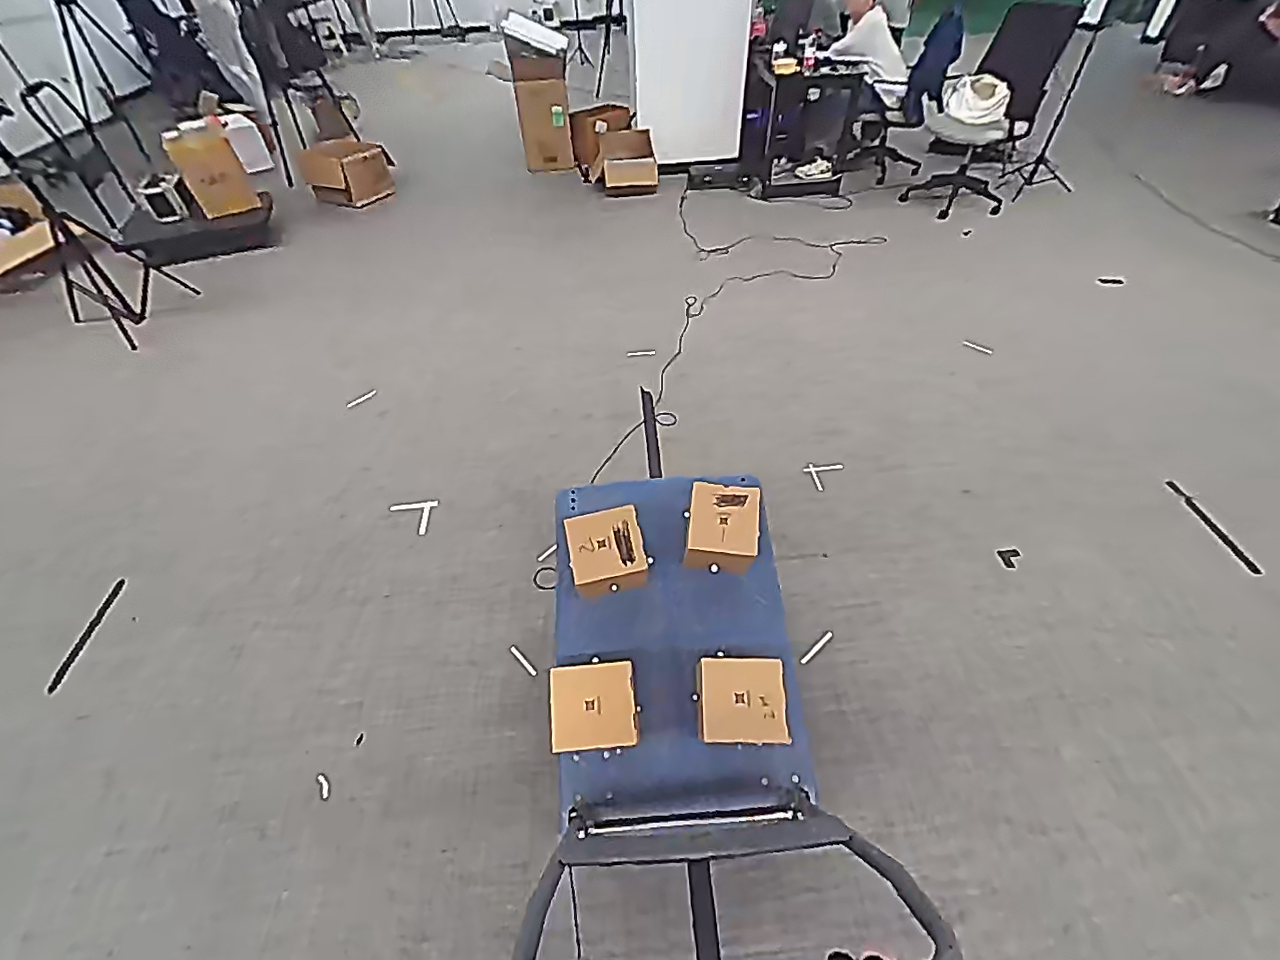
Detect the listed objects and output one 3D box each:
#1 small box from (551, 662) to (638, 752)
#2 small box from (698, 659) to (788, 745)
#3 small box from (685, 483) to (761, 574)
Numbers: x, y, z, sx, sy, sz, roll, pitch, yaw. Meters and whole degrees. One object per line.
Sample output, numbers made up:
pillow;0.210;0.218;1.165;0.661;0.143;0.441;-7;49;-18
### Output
small box;-0.099;0.508;1.202;0.179;0.176;0.168;-5;65;-3
small box;0.219;0.494;1.201;0.179;0.176;0.168;1;66;2
small box;0.205;0.126;1.367;0.168;0.176;0.179;6;67;4
